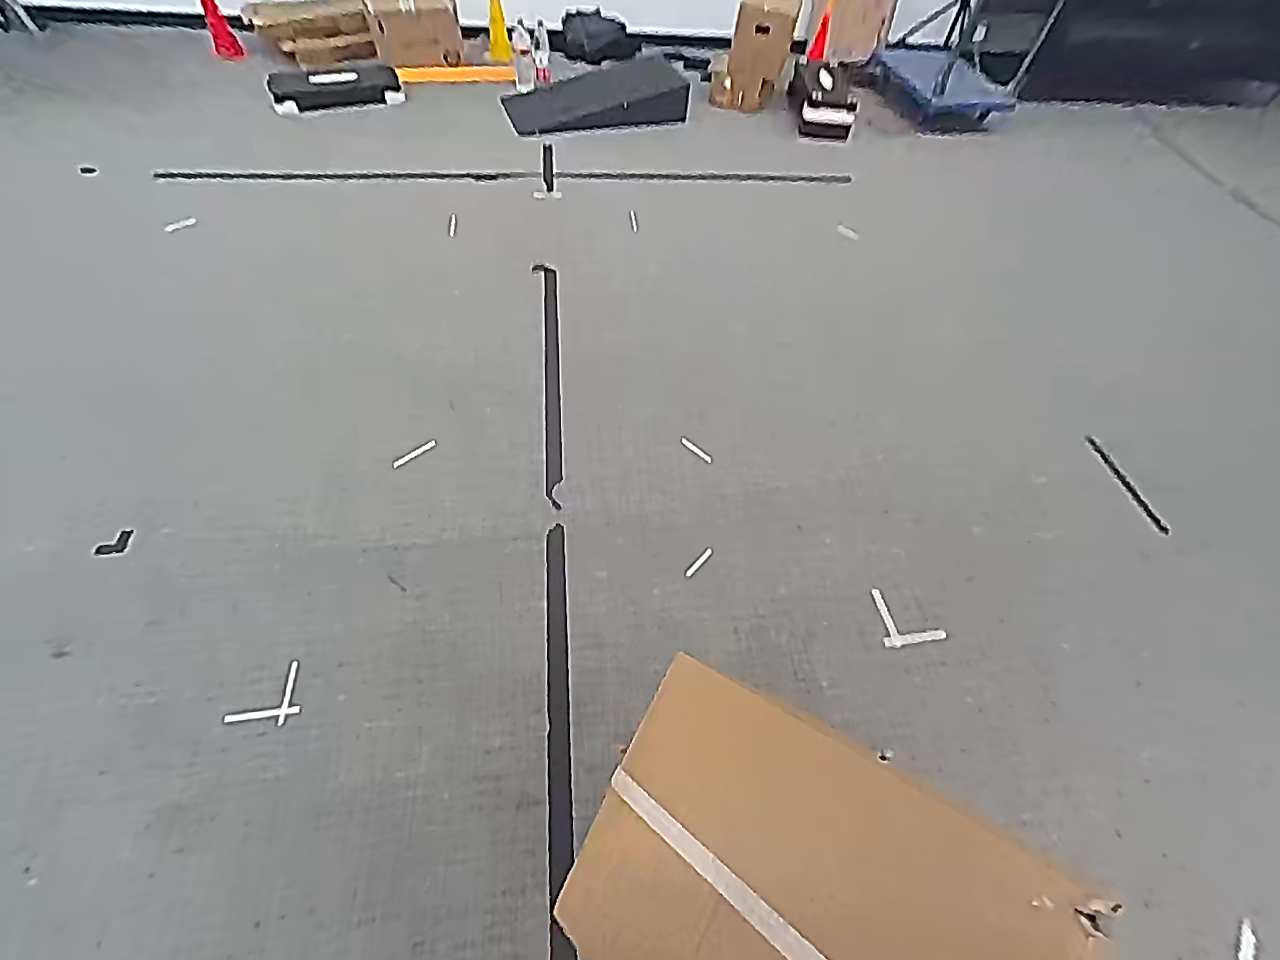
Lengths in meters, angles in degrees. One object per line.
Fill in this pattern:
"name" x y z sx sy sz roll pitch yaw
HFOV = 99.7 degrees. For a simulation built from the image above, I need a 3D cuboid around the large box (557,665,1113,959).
"large box" 0.196 0.453 0.568 0.408 0.320 0.320 15 73 46
